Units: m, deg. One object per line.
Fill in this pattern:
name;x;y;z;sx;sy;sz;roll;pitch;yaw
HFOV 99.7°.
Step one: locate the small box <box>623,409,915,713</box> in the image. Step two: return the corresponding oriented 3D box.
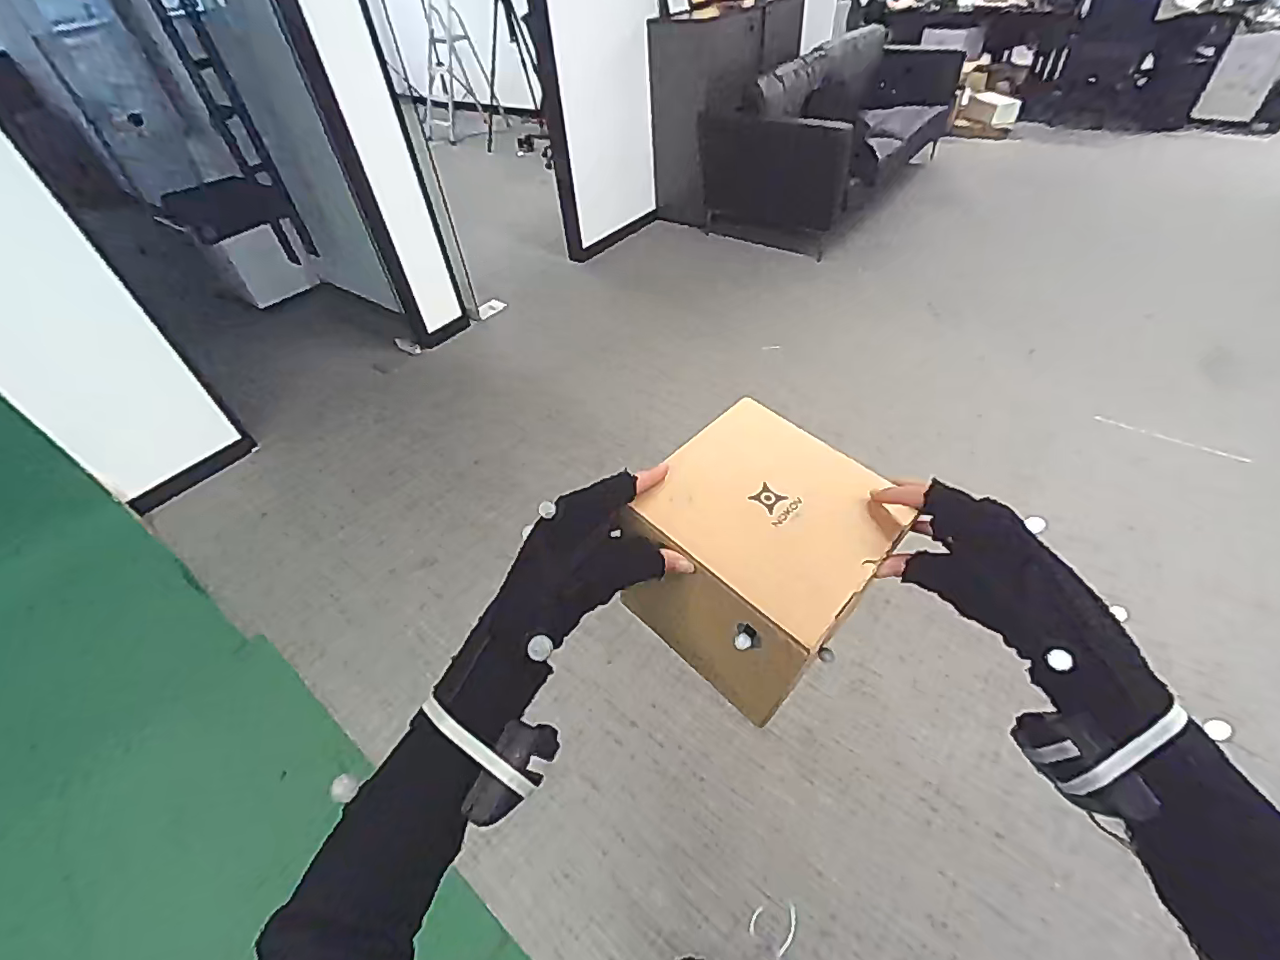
small box;0.098;0.074;0.487;0.179;0.176;0.168;38;58;25
